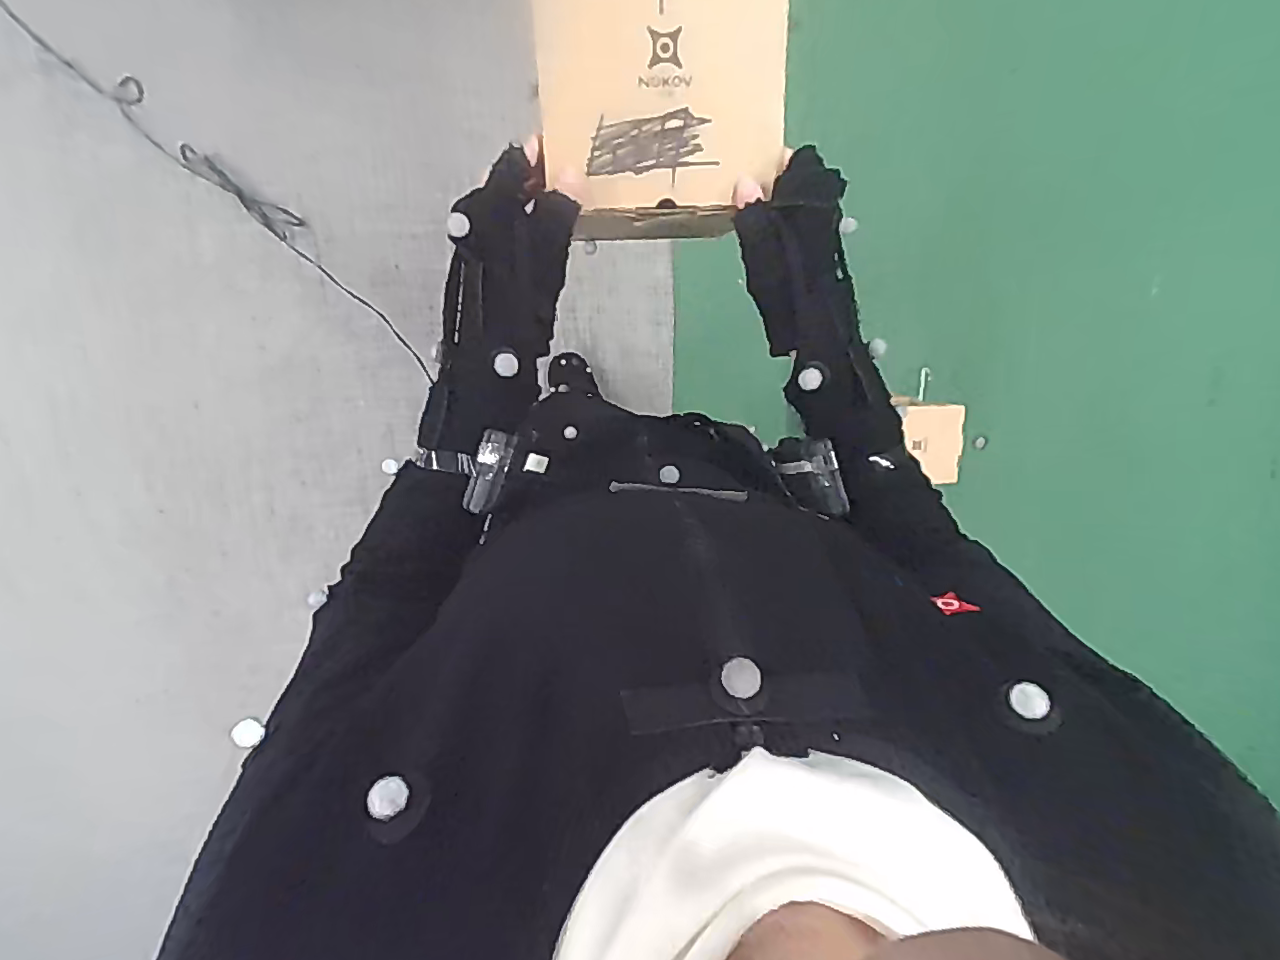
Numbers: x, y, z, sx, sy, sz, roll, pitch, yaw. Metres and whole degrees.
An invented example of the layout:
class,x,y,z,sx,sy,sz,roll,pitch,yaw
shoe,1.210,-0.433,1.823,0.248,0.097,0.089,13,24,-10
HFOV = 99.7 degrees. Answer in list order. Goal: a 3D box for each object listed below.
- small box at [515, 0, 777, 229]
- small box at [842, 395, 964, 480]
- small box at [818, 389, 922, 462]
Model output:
class,x,y,z,sx,sy,sz,roll,pitch,yaw
small box,-0.002,-0.297,0.419,0.168,0.176,0.179,-5,108,-5
small box,0.573,-0.101,1.199,0.179,0.176,0.168,-2,103,-4
small box,0.562,-0.138,1.339,0.179,0.176,0.168,-1,102,-3
